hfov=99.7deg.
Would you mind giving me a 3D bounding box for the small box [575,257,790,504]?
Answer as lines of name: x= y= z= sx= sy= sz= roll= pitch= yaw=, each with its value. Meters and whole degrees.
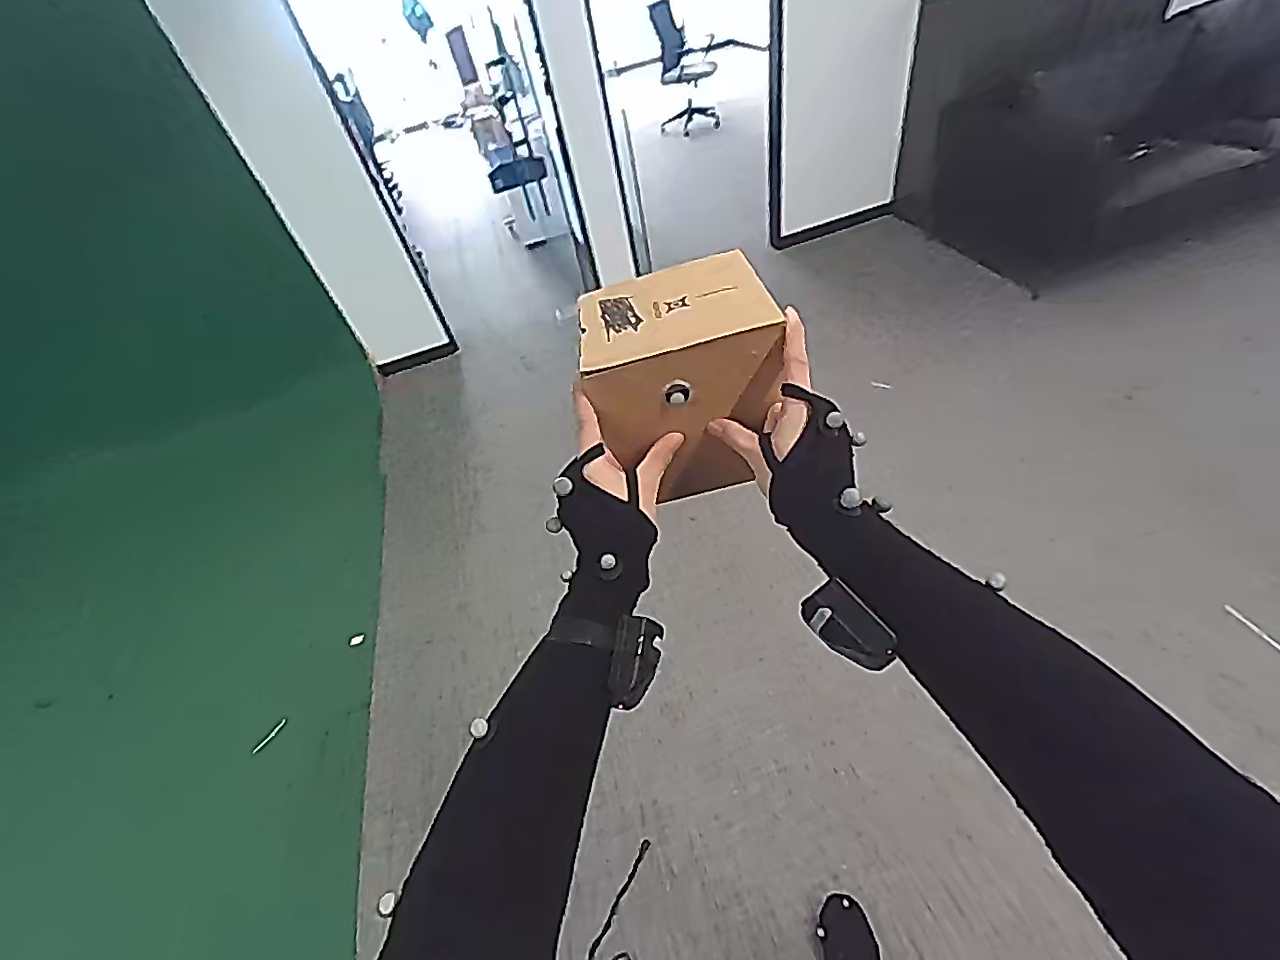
small box: x=0.043 y=-0.097 z=0.553 sx=0.179 sy=0.176 sz=0.168 roll=-14 pitch=41 yaw=5
